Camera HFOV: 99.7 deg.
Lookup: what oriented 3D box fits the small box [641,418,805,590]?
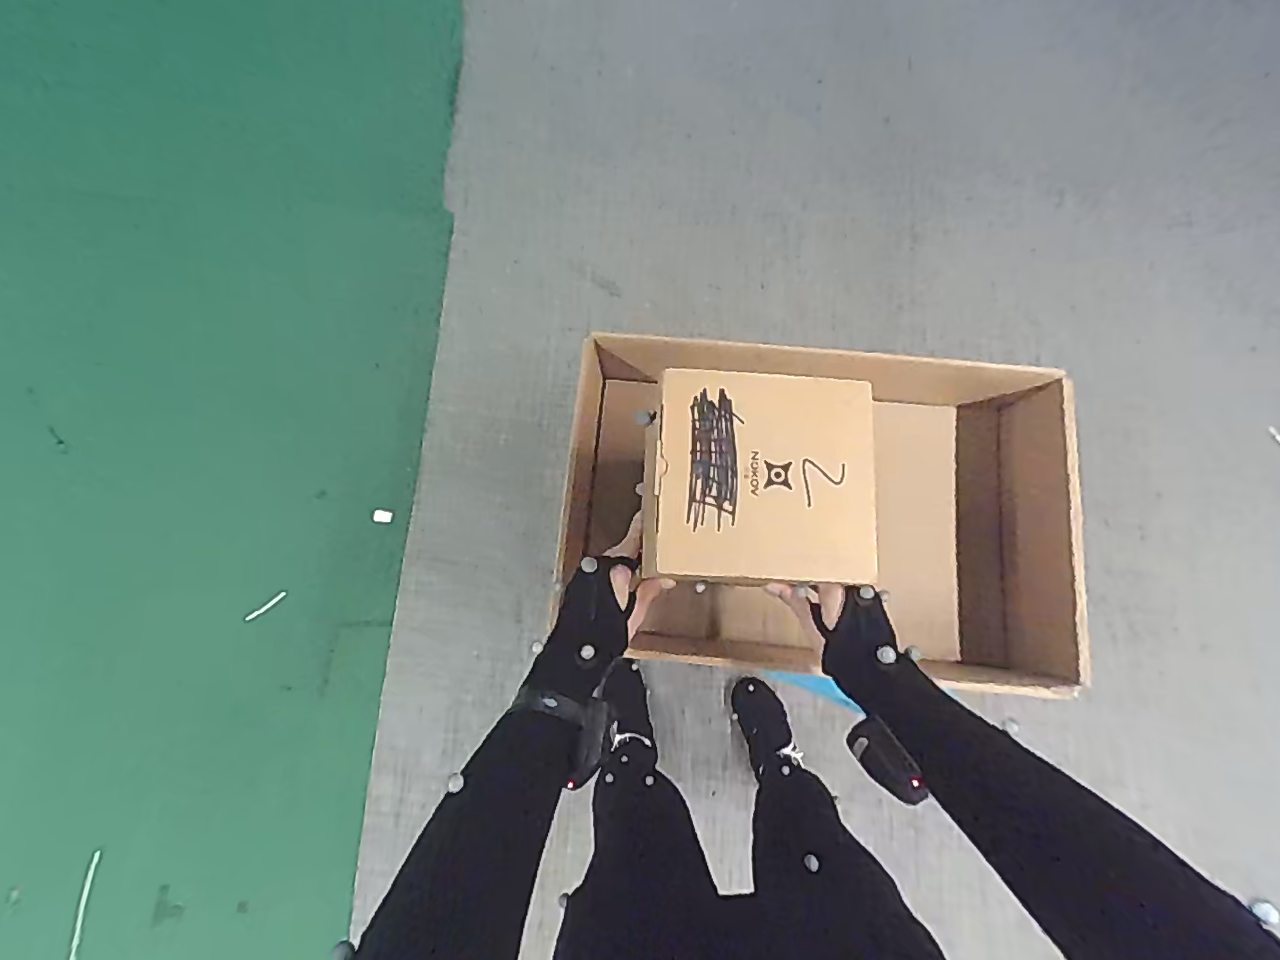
[{"bbox_3d":[0.092,0.039,0.661,0.168,0.176,0.179,5,79,-2],"label":"small box"}]
